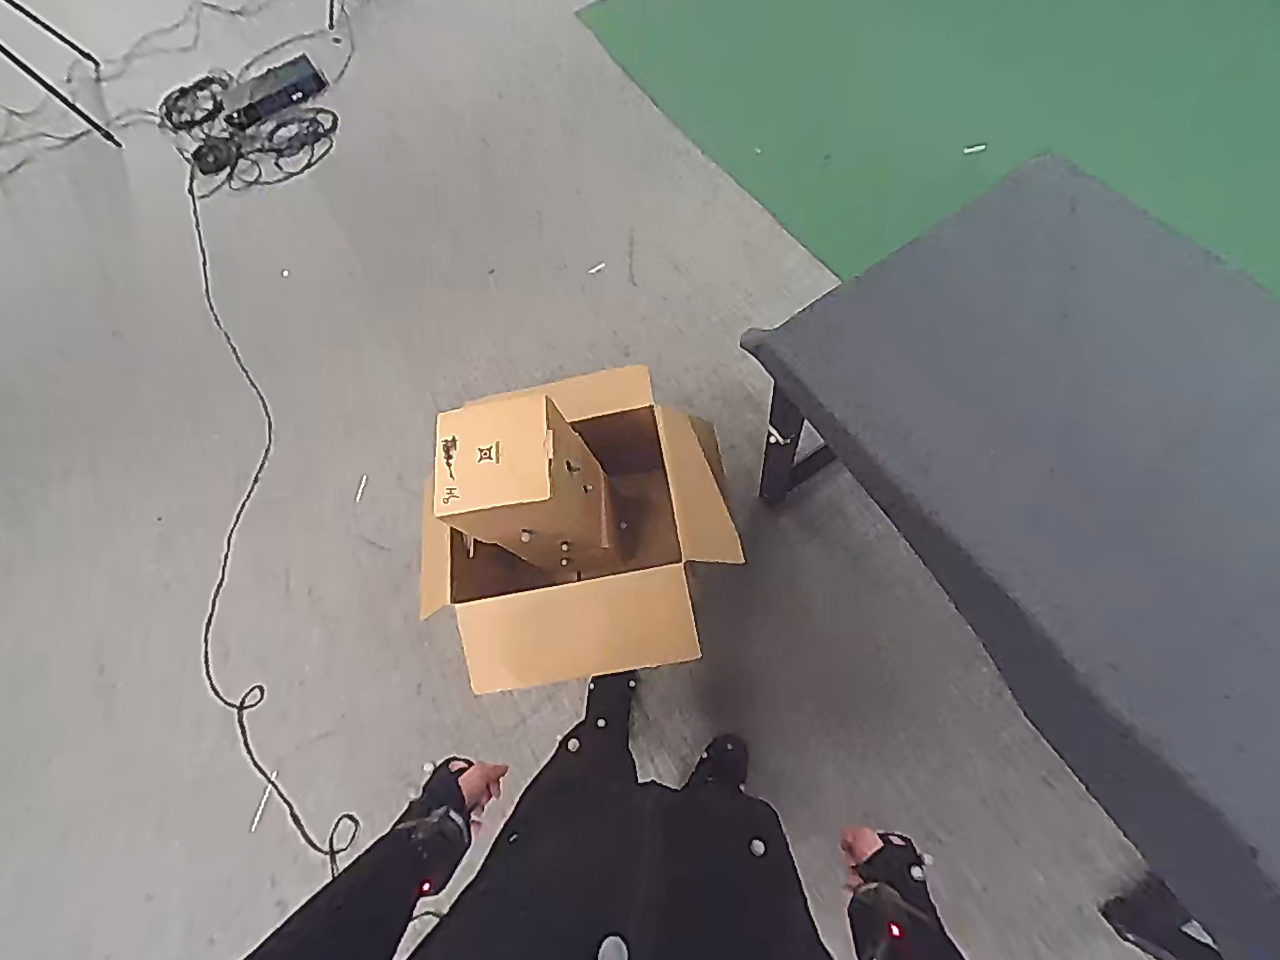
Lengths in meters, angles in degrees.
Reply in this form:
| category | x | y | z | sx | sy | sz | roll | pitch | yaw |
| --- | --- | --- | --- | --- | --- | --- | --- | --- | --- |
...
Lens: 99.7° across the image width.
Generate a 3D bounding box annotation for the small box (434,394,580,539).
| category | x | y | z | sx | sy | sz | roll | pitch | yaw |
| --- | --- | --- | --- | --- | --- | --- | --- | --- | --- |
| small box | -0.196 | -0.012 | 0.841 | 0.179 | 0.176 | 0.168 | -8 | 69 | 7 |
